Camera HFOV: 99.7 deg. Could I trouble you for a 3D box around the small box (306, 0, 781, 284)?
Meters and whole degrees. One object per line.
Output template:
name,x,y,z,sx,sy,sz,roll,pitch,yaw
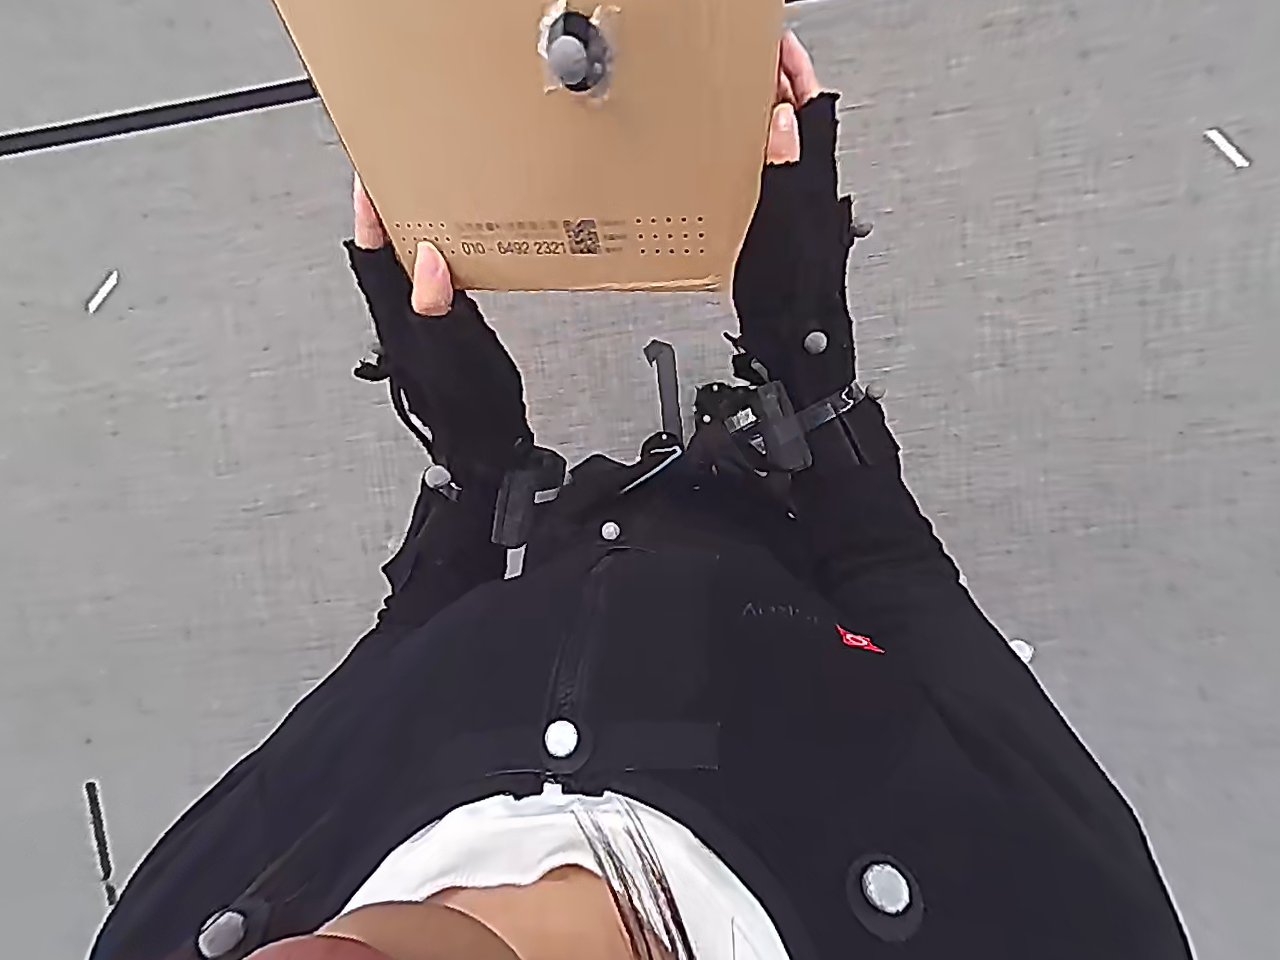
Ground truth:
small box,-0.025,-0.214,0.267,0.168,0.179,0.176,9,141,19
